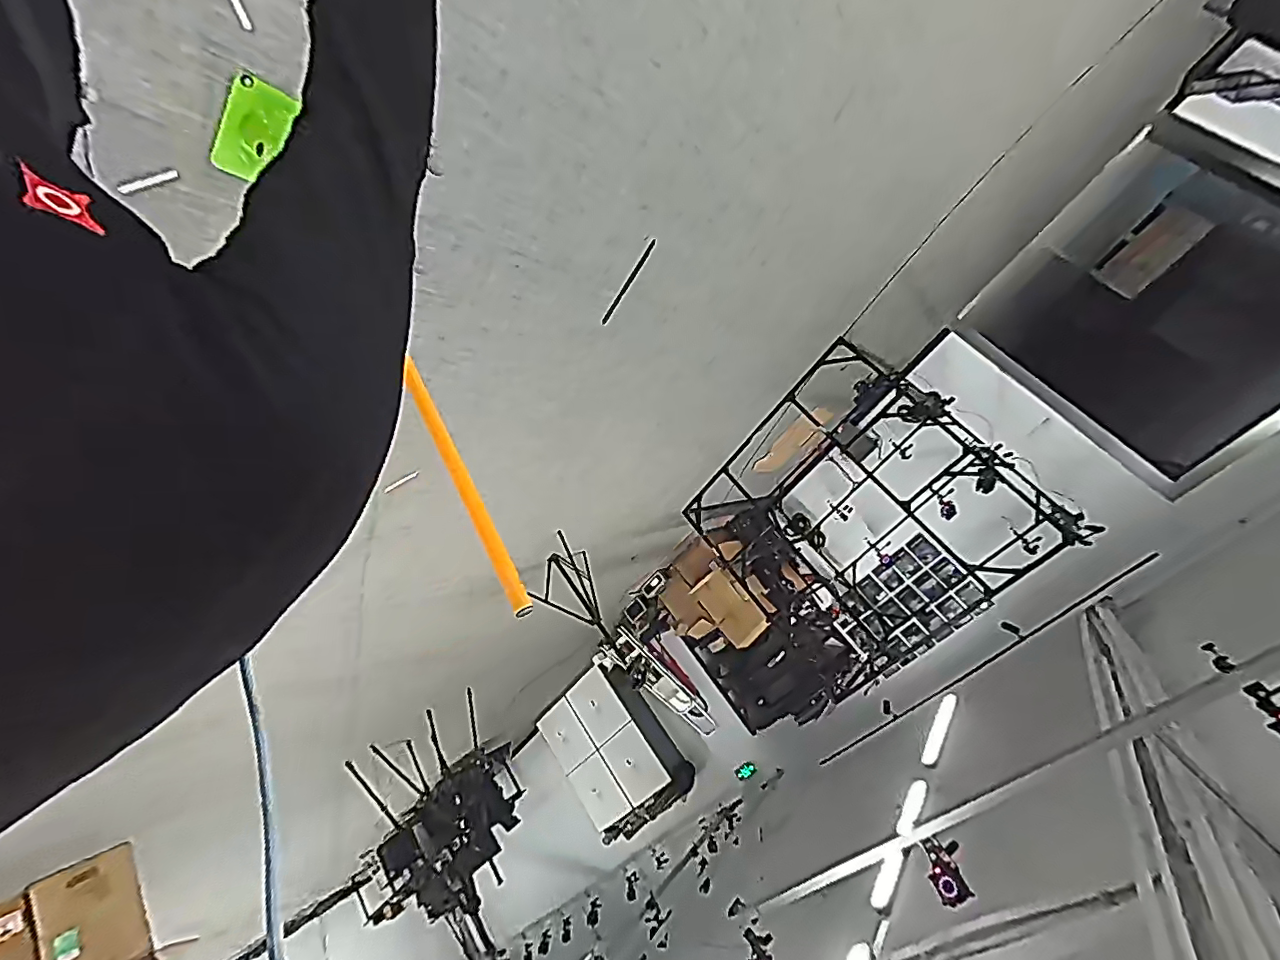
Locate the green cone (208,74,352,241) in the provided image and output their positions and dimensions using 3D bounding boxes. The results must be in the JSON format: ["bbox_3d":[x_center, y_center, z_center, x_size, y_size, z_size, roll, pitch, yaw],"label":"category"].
[{"bbox_3d":[-0.686,-0.603,1.101,0.200,0.368,0.202,-49,157,23],"label":"green cone"}]
